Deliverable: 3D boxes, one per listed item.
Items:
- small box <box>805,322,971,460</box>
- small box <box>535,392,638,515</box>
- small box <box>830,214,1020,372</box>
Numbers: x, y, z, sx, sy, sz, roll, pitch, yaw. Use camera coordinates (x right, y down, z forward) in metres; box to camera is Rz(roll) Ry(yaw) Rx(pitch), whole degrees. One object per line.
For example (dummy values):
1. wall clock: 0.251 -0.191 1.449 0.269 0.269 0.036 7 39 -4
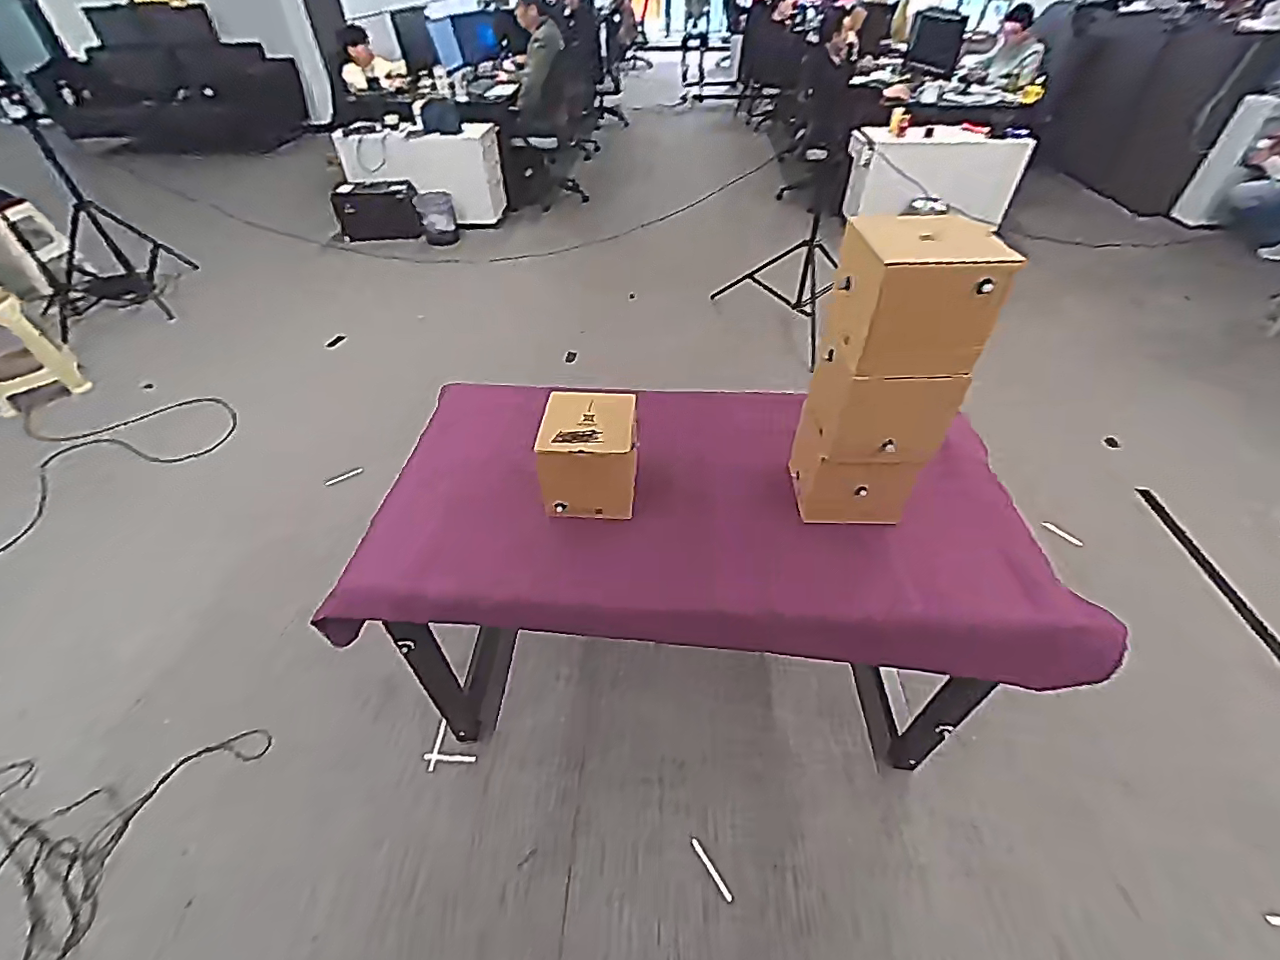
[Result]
1. small box: 0.392 -0.145 0.890 0.179 0.176 0.168 -1 44 -1
2. small box: -0.092 -0.049 1.031 0.168 0.176 0.179 2 44 3
3. small box: 0.389 -0.268 0.782 0.179 0.176 0.168 -1 44 0
